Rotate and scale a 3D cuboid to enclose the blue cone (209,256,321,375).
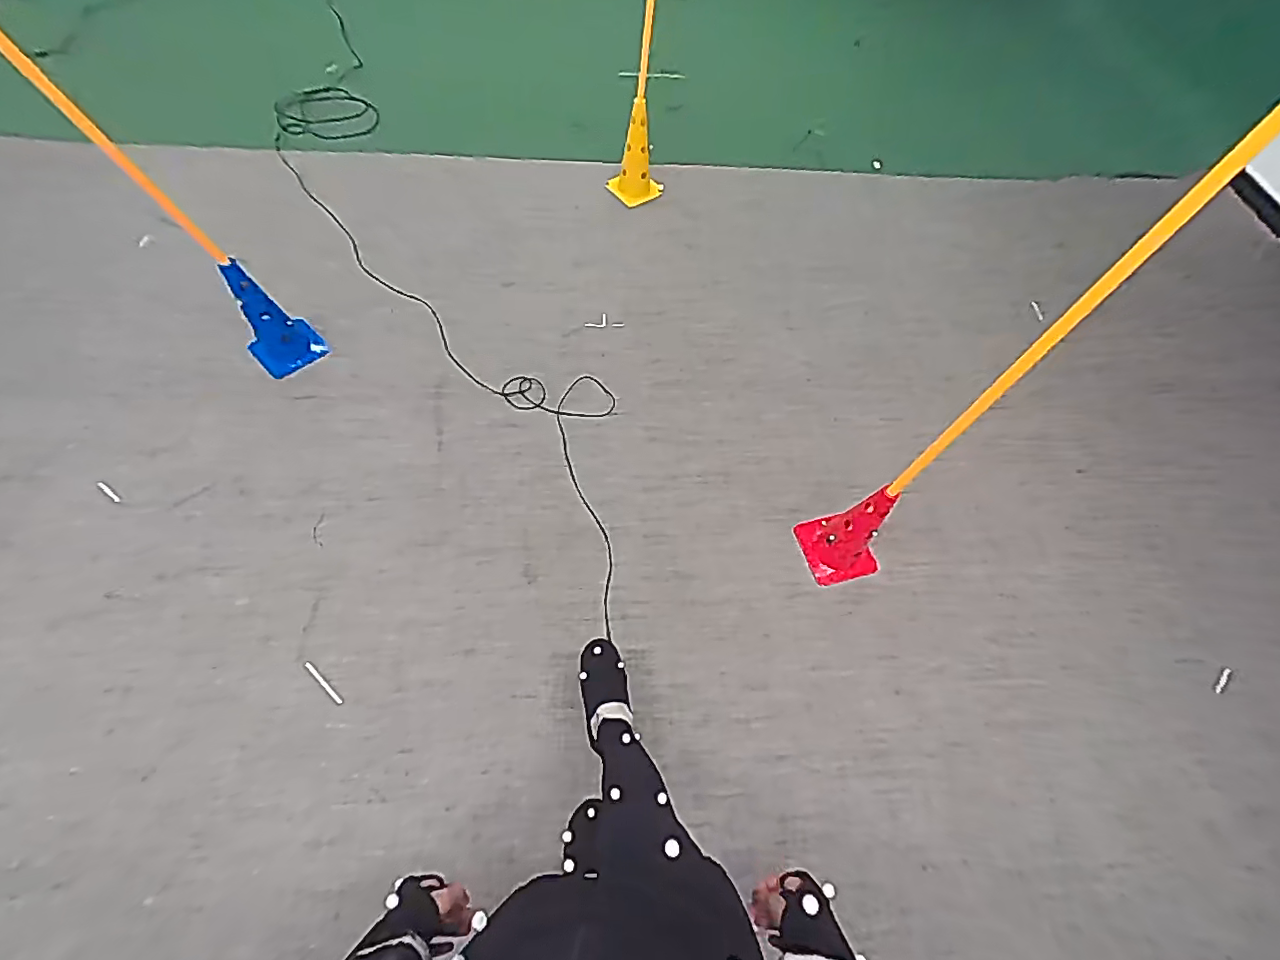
[{"bbox_3d":[-1.170,-0.513,1.646,0.192,0.380,0.193,41,68,16],"label":"blue cone"}]
